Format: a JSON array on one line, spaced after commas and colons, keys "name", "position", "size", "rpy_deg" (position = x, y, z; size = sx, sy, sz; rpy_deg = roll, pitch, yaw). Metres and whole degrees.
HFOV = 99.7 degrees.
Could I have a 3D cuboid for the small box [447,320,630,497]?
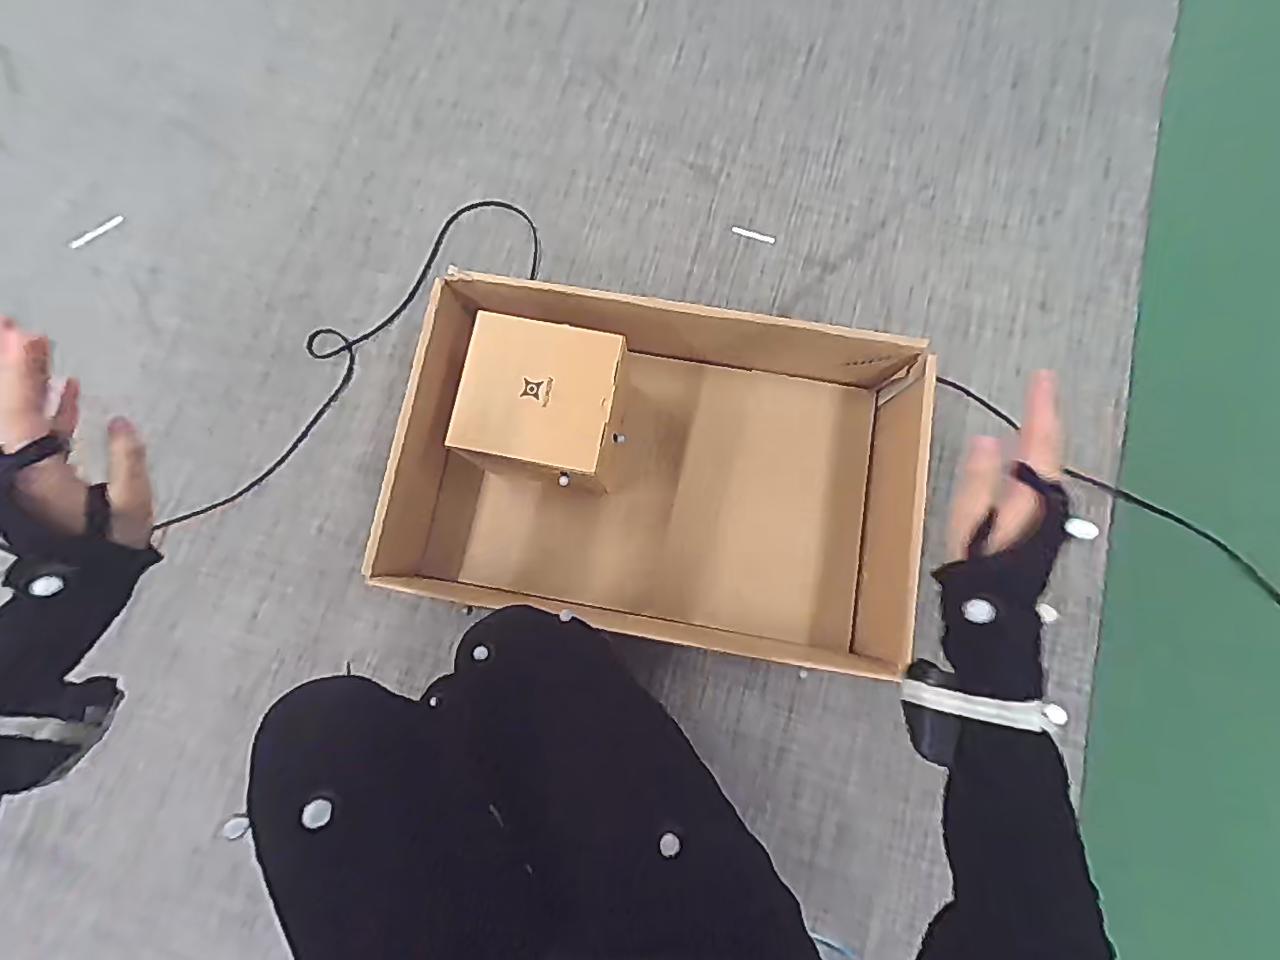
[{"name": "small box", "position": [-0.115, -0.080, 0.691], "size": [0.179, 0.176, 0.168], "rpy_deg": [11, 81, 3]}]
